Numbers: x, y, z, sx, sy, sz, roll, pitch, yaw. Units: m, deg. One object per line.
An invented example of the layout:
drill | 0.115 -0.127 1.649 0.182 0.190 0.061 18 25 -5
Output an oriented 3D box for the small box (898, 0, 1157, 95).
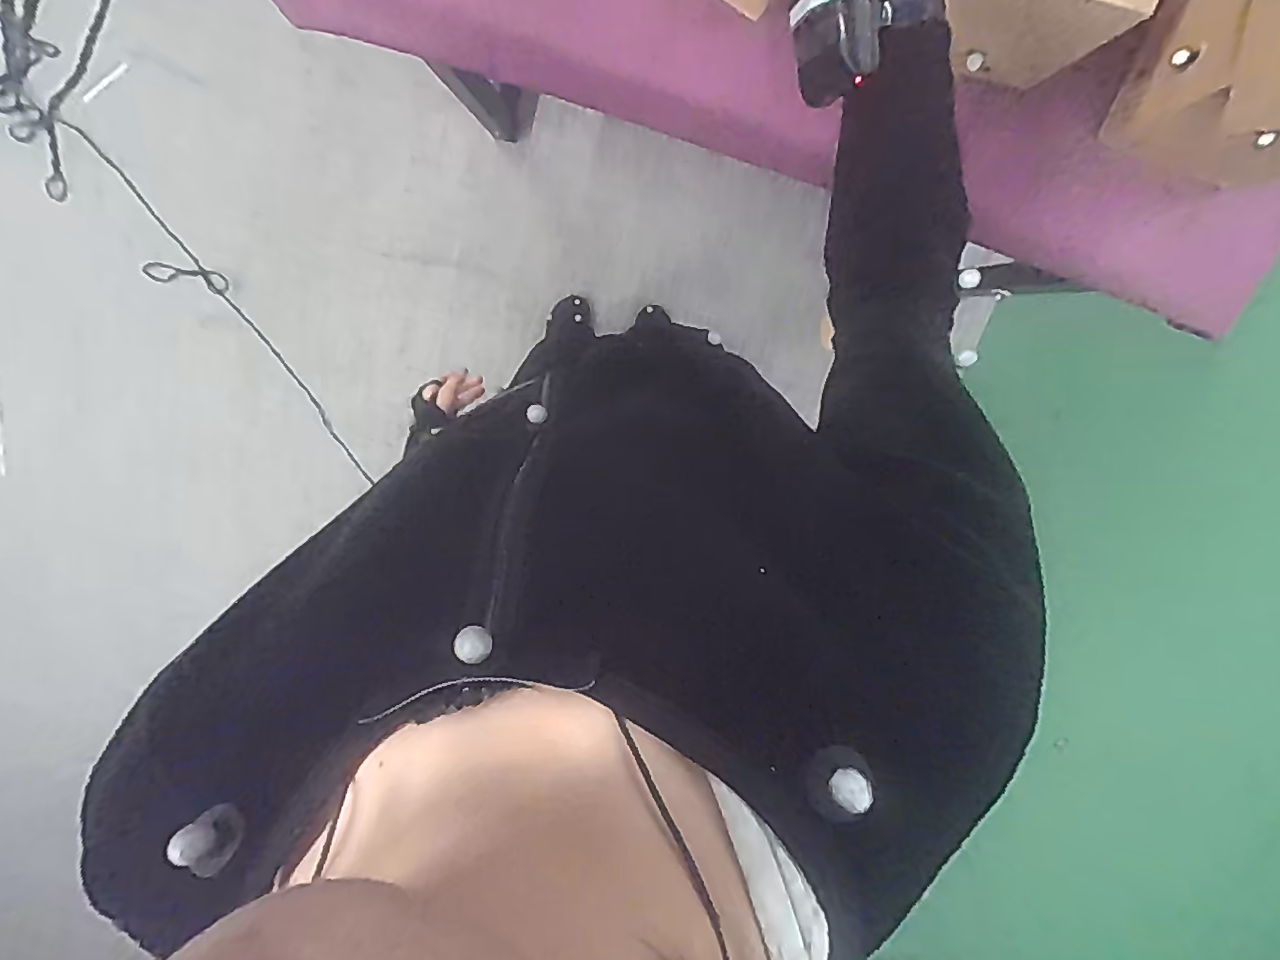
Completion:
small box | 0.377 -0.513 0.513 0.168 0.176 0.179 13 107 -2

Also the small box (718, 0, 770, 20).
small box | 0.098 -0.590 0.497 0.168 0.176 0.179 30 104 -7
